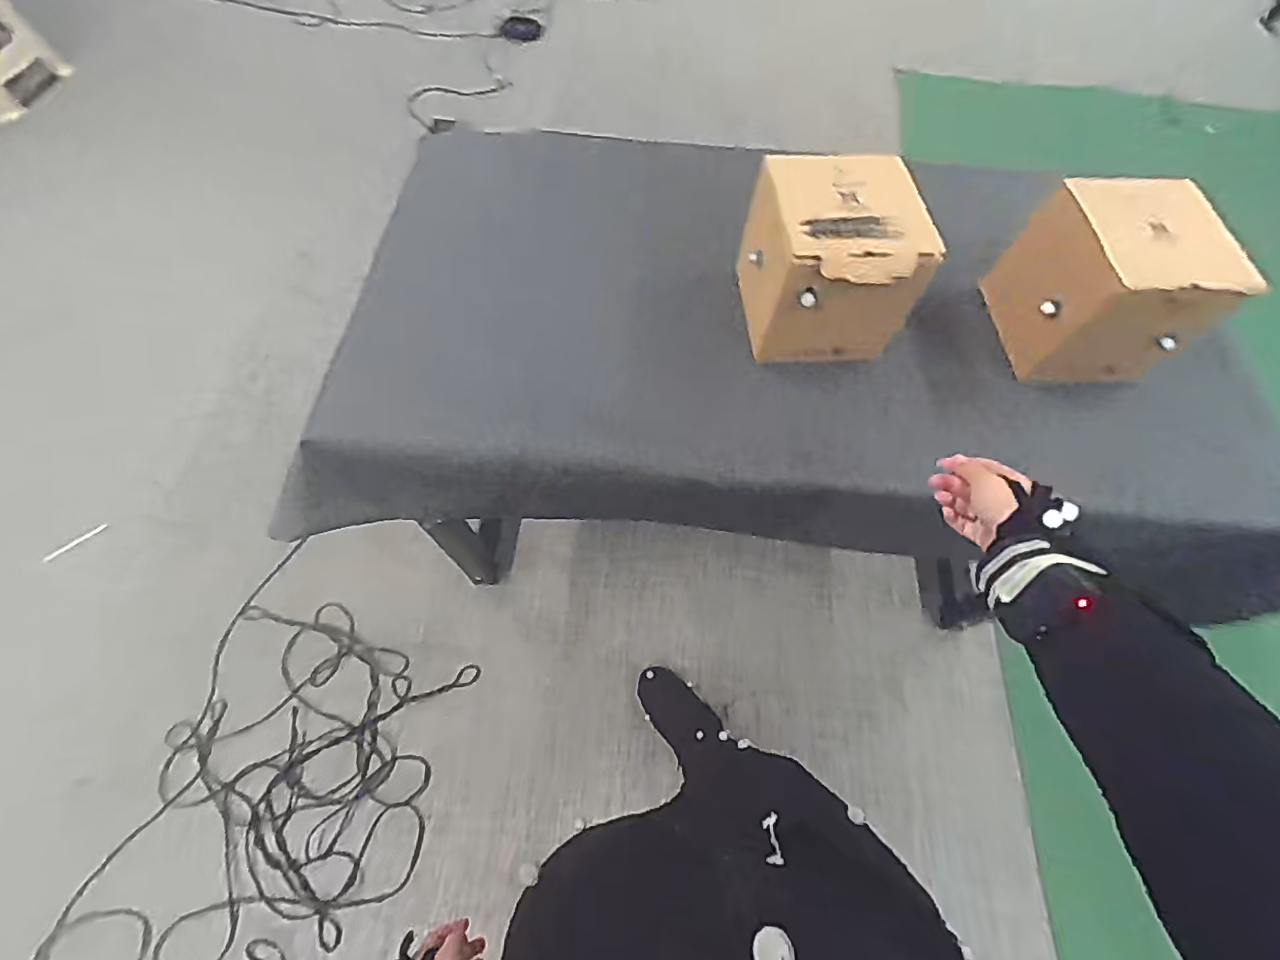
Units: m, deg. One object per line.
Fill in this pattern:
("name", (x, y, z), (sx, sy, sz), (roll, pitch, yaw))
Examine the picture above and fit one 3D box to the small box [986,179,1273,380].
("small box", (0.578, -0.239, 0.670), (0.168, 0.176, 0.179), (0, 63, -4))
